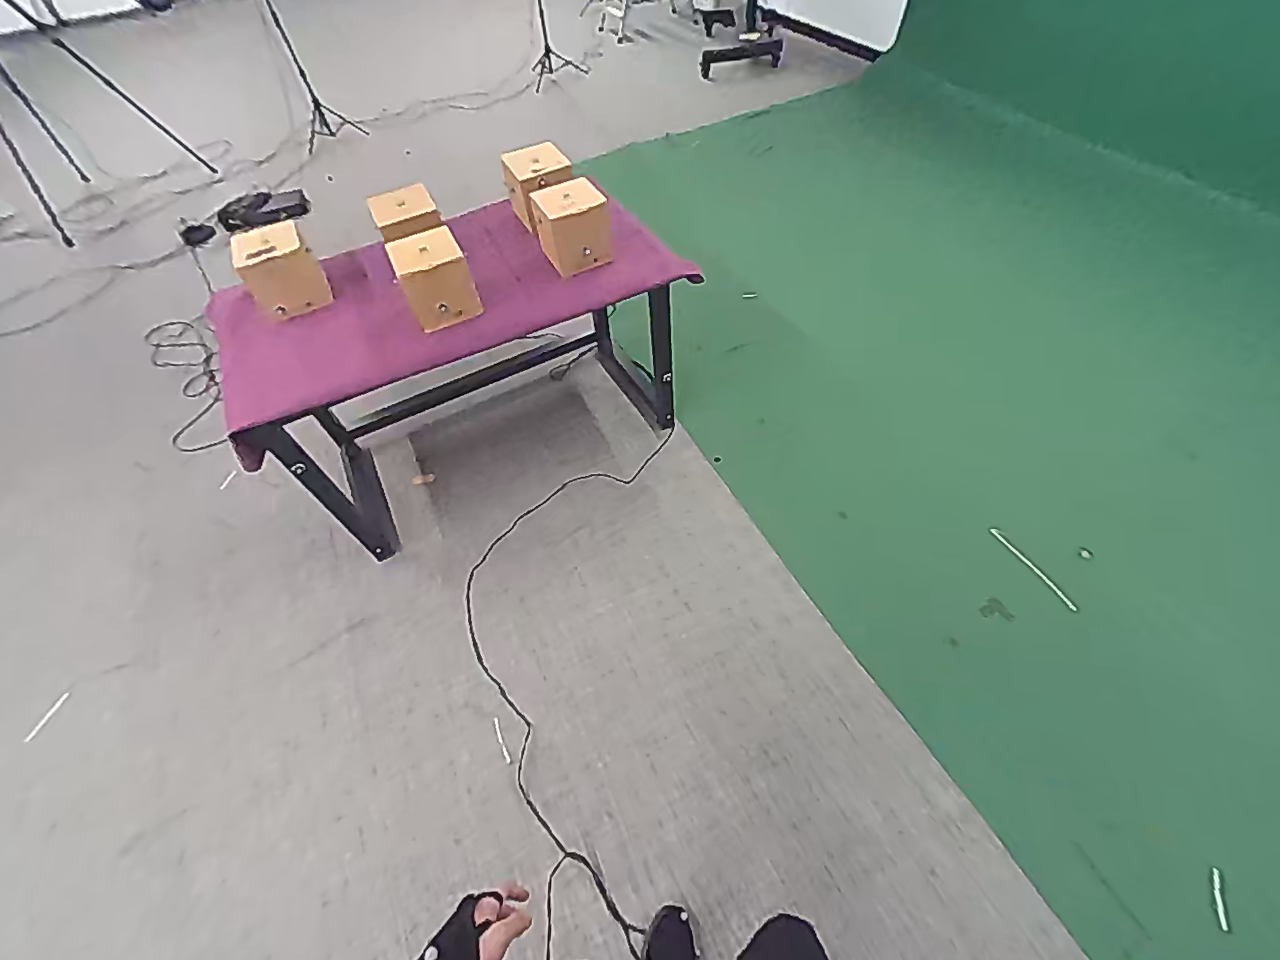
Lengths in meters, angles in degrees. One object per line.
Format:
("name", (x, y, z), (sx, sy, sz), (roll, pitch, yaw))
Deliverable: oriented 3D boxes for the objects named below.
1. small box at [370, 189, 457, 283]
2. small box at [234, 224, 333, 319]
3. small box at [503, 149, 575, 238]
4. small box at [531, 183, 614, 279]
("small box", (-0.652, -0.705, 1.564), (0.168, 0.176, 0.179), (-24, 56, -12))
("small box", (-0.972, -0.565, 1.484), (0.168, 0.176, 0.179), (-25, 55, -14))
("small box", (-0.300, -0.877, 1.658), (0.168, 0.176, 0.179), (-25, 56, -12))
("small box", (-0.186, -0.692, 1.510), (0.168, 0.176, 0.179), (-24, 54, -11))
